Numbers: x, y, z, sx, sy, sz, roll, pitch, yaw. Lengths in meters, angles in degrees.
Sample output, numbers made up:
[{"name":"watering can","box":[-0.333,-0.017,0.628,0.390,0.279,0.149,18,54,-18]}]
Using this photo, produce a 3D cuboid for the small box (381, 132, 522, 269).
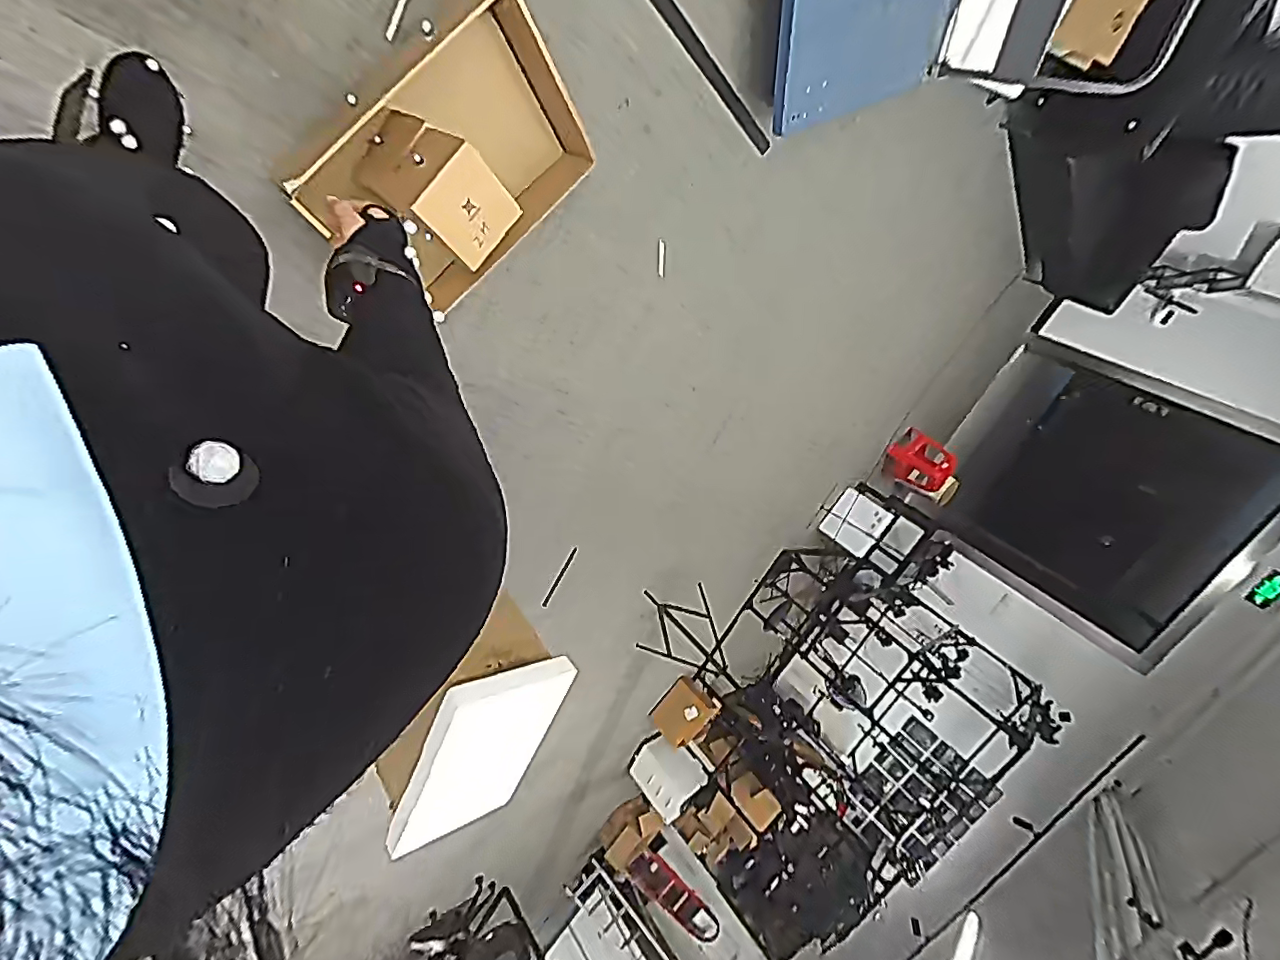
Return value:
[{"name":"small box","box":[-0.383,-0.569,1.094,0.168,0.176,0.179,-51,147,-1]}]
